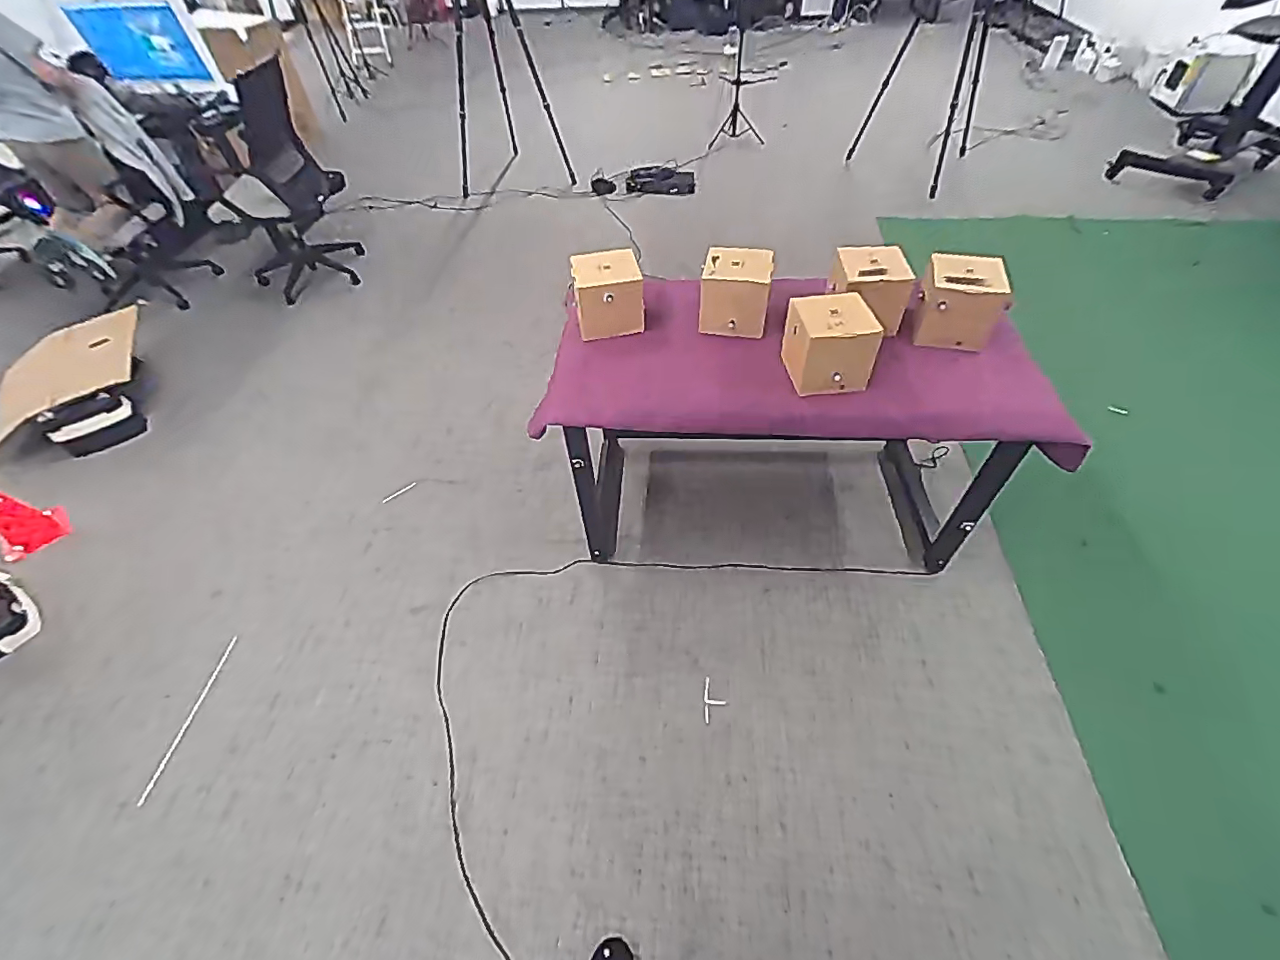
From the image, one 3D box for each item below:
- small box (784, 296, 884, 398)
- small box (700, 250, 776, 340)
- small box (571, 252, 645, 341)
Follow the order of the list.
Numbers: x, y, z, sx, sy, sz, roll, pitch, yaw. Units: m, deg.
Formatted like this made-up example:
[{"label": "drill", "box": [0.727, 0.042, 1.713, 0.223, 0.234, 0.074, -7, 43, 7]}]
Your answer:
[{"label": "small box", "box": [0.456, -0.320, 1.306, 0.168, 0.176, 0.179, -5, 48, 0]}, {"label": "small box", "box": [0.264, -0.501, 1.475, 0.179, 0.176, 0.168, 8, 51, 10]}, {"label": "small box", "box": [-0.086, -0.503, 1.497, 0.179, 0.176, 0.168, -9, 51, -5]}]
